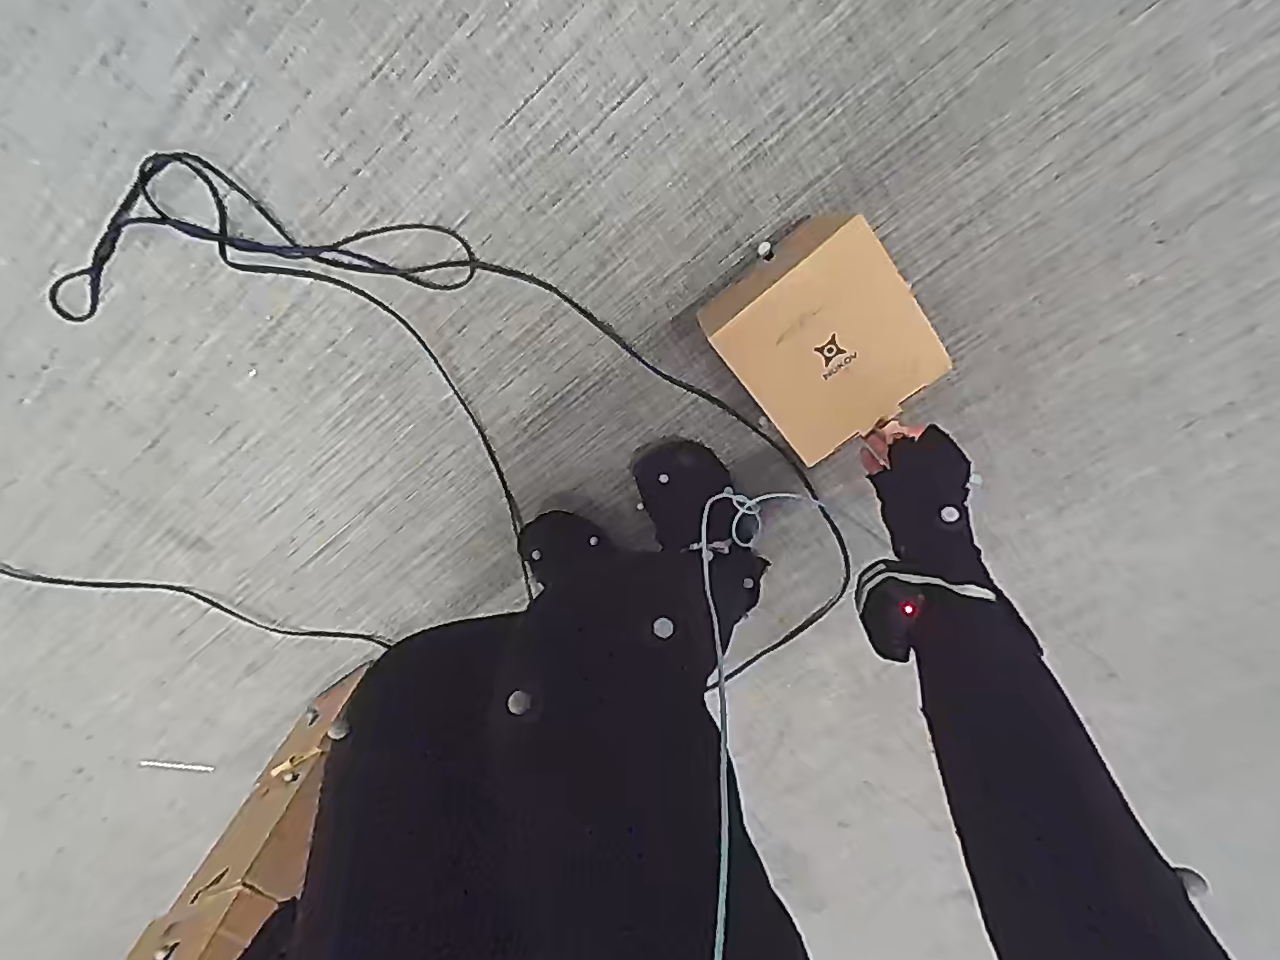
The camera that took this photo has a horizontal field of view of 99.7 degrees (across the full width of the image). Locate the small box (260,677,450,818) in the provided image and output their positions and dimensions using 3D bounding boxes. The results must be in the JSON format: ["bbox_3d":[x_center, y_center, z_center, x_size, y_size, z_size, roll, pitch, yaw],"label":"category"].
[{"bbox_3d":[-0.452,0.451,0.884,0.168,0.176,0.179,-35,108,20],"label":"small box"}]

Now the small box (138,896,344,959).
[{"bbox_3d":[-0.469,0.604,0.593,0.168,0.176,0.179,-28,111,14],"label":"small box"}]

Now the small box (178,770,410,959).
[{"bbox_3d":[-0.457,0.530,0.737,0.168,0.176,0.179,-33,111,16],"label":"small box"}]

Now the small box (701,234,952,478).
[{"bbox_3d":[0.183,-0.141,0.578,0.168,0.176,0.179,-37,109,17],"label":"small box"}]
